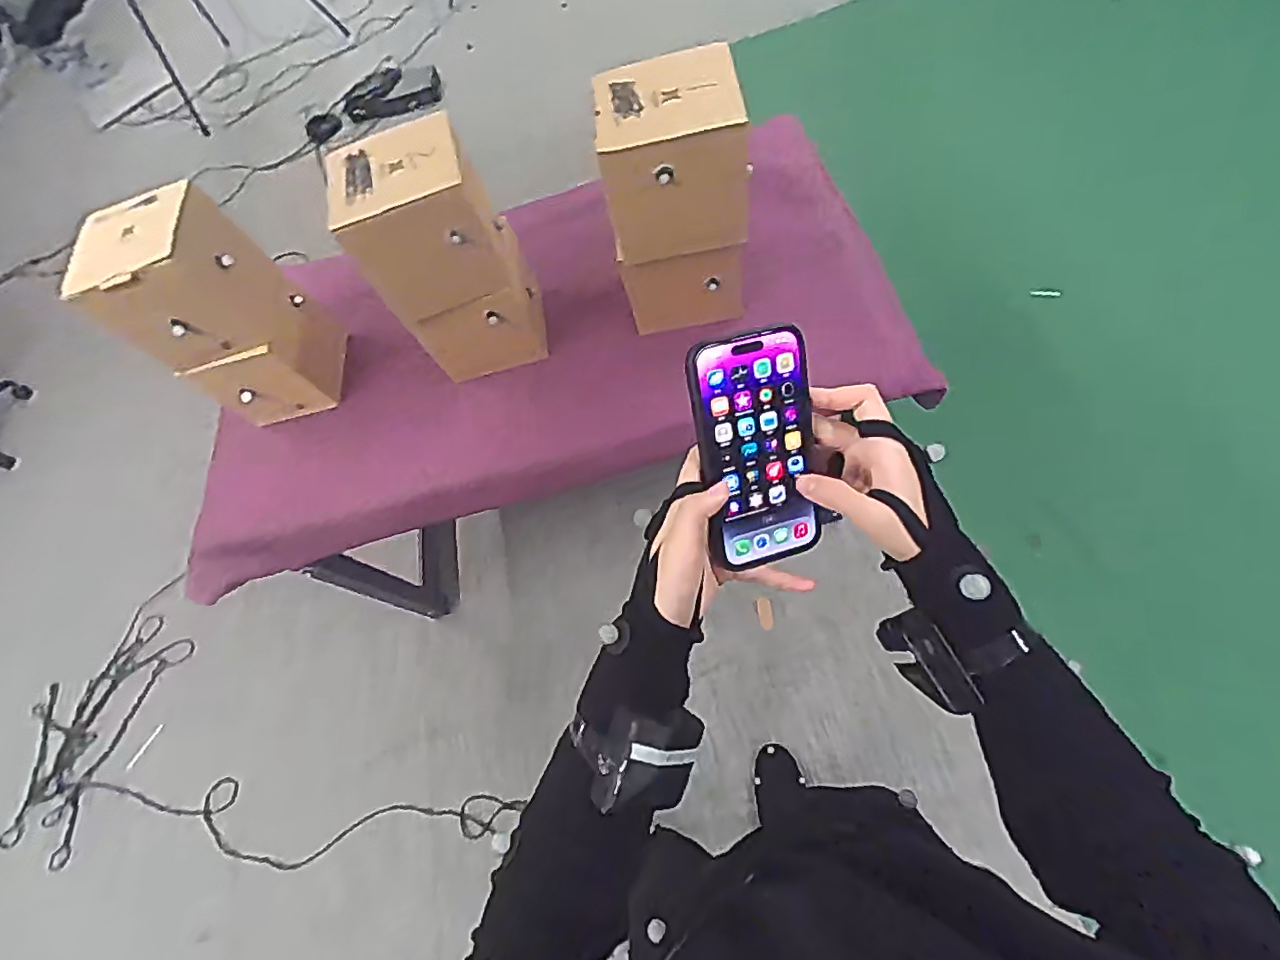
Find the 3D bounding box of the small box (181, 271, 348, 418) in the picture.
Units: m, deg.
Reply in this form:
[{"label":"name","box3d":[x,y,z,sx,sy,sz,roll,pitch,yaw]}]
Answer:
[{"label":"small box","box3d":[-0.647,-0.227,0.956,0.168,0.176,0.179,-13,63,6]}]

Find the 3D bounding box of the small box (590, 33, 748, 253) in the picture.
[{"label":"small box","box3d":[0.042,-0.427,0.709,0.179,0.176,0.168,-8,64,8]}]

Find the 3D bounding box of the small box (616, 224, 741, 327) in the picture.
[{"label":"small box","box3d":[0.065,-0.371,0.862,0.179,0.176,0.168,-8,64,10]}]

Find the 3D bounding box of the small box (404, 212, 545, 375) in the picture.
[{"label":"small box","box3d":[-0.267,-0.303,0.903,0.179,0.176,0.168,-14,63,6]}]

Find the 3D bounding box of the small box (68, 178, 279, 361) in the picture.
[{"label":"small box","box3d":[-0.682,-0.302,0.814,0.168,0.176,0.179,-18,64,3]}]
